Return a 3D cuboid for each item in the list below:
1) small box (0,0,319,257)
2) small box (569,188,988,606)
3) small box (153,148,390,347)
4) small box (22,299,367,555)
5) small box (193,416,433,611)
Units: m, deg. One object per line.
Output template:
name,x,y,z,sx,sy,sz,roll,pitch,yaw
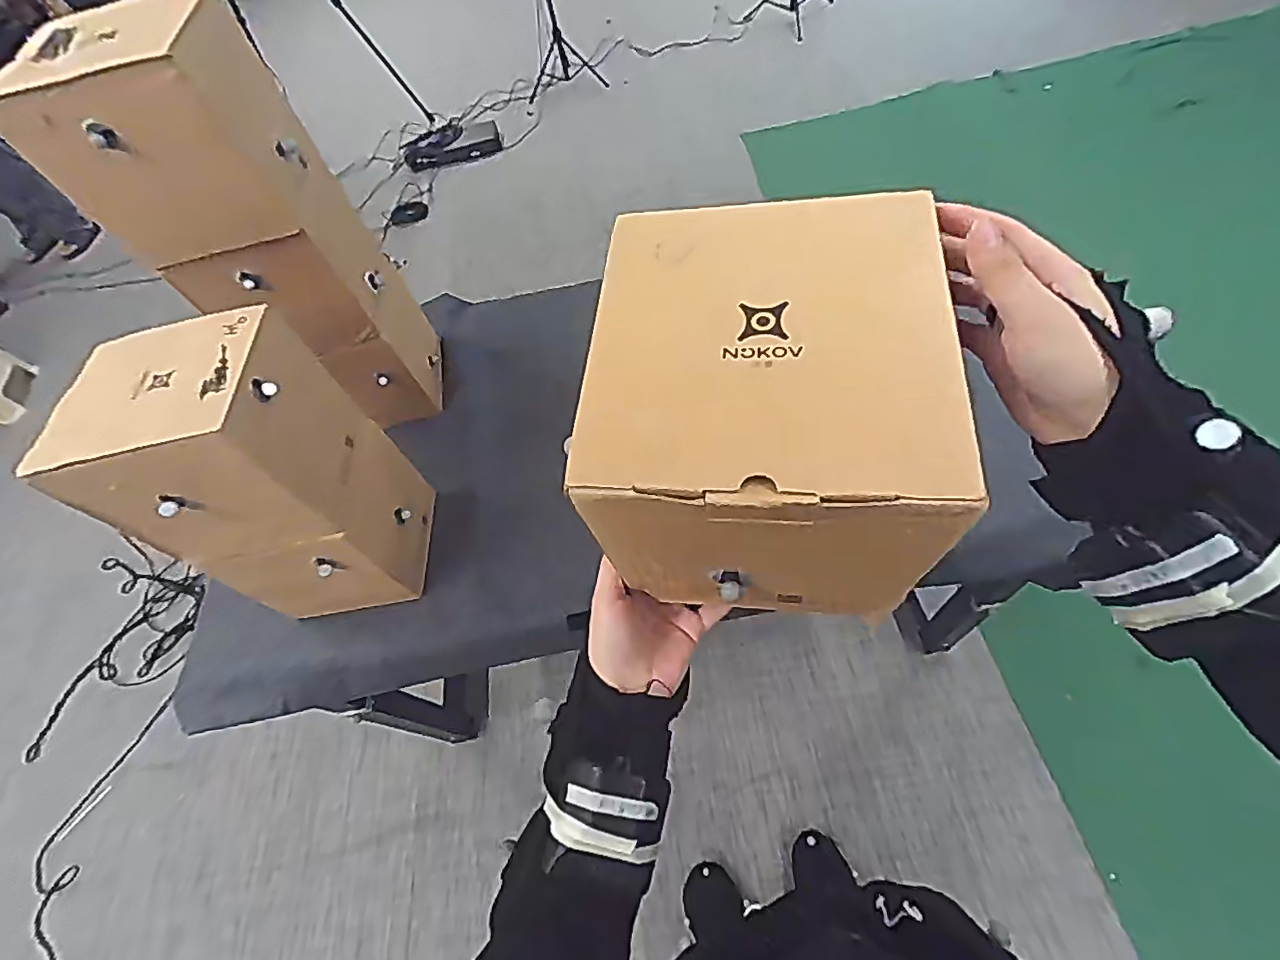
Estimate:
small box,-0.470,-0.357,0.549,0.179,0.176,0.168,-13,60,1
small box,0.070,-0.036,0.320,0.168,0.176,0.179,1,65,11
small box,-0.451,-0.282,0.695,0.179,0.176,0.168,-14,60,0
small box,-0.409,-0.043,0.537,0.179,0.176,0.168,-14,56,3
small box,-0.380,0.048,0.670,0.179,0.176,0.168,-10,55,4
